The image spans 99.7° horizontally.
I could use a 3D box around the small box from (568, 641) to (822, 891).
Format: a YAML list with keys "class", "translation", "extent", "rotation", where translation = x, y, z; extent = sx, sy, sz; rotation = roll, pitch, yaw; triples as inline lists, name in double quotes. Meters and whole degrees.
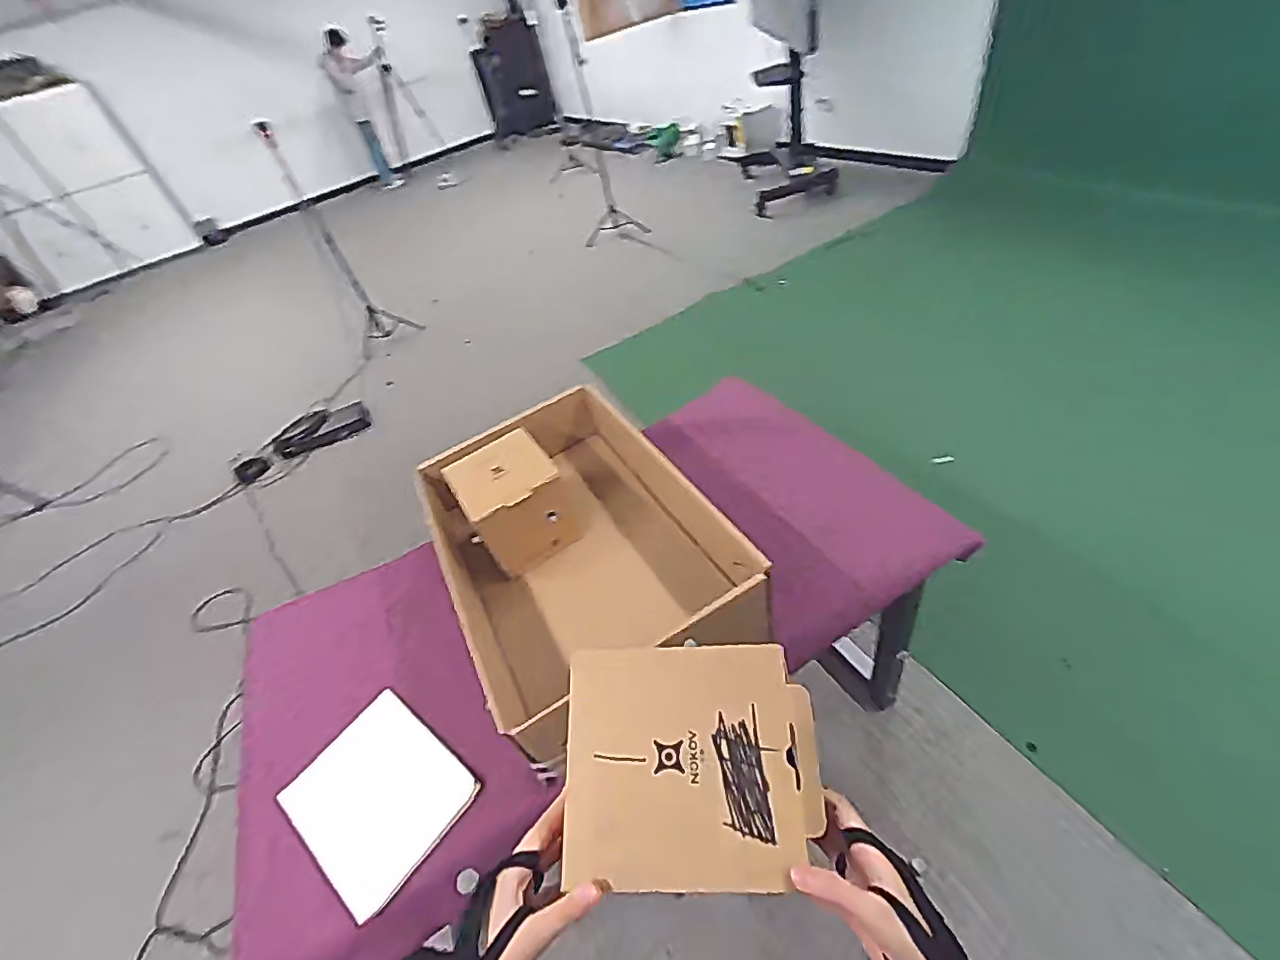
- class: "small box"
  translation: [0.043, 0.240, 0.474]
  extent: [0.179, 0.176, 0.168]
  rotation: [-2, 61, 5]
